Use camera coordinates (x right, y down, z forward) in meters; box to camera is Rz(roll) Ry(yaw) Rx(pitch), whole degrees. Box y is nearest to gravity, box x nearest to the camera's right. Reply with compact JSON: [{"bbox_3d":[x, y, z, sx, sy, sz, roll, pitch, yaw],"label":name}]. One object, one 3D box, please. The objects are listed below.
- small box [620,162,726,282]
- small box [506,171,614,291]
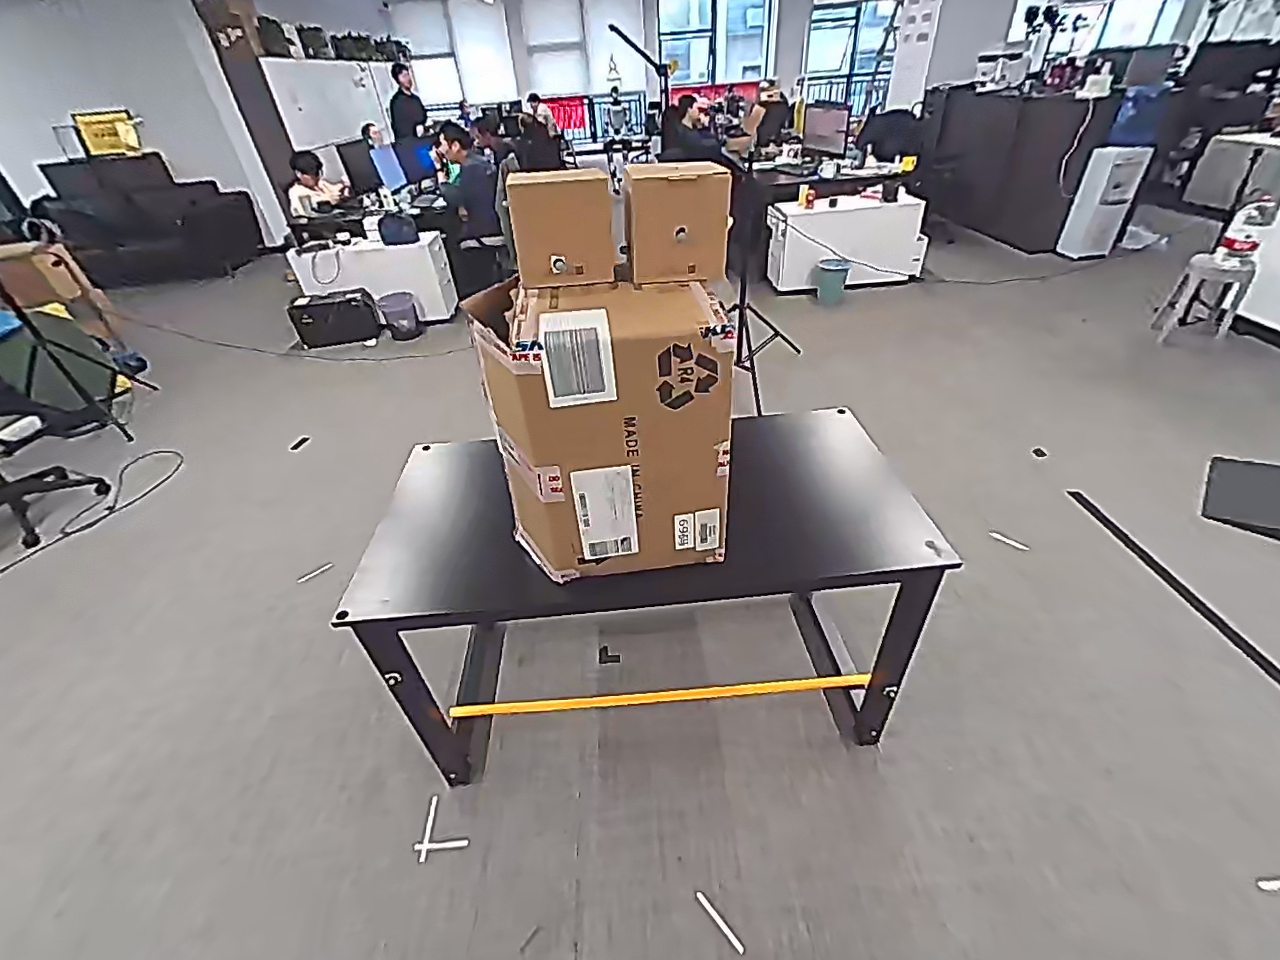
[{"bbox_3d":[0.055,-0.465,0.982,0.168,0.176,0.179,-5,37,-5],"label":"small box"},{"bbox_3d":[-0.144,-0.453,0.982,0.168,0.176,0.179,-9,36,-7],"label":"small box"}]
